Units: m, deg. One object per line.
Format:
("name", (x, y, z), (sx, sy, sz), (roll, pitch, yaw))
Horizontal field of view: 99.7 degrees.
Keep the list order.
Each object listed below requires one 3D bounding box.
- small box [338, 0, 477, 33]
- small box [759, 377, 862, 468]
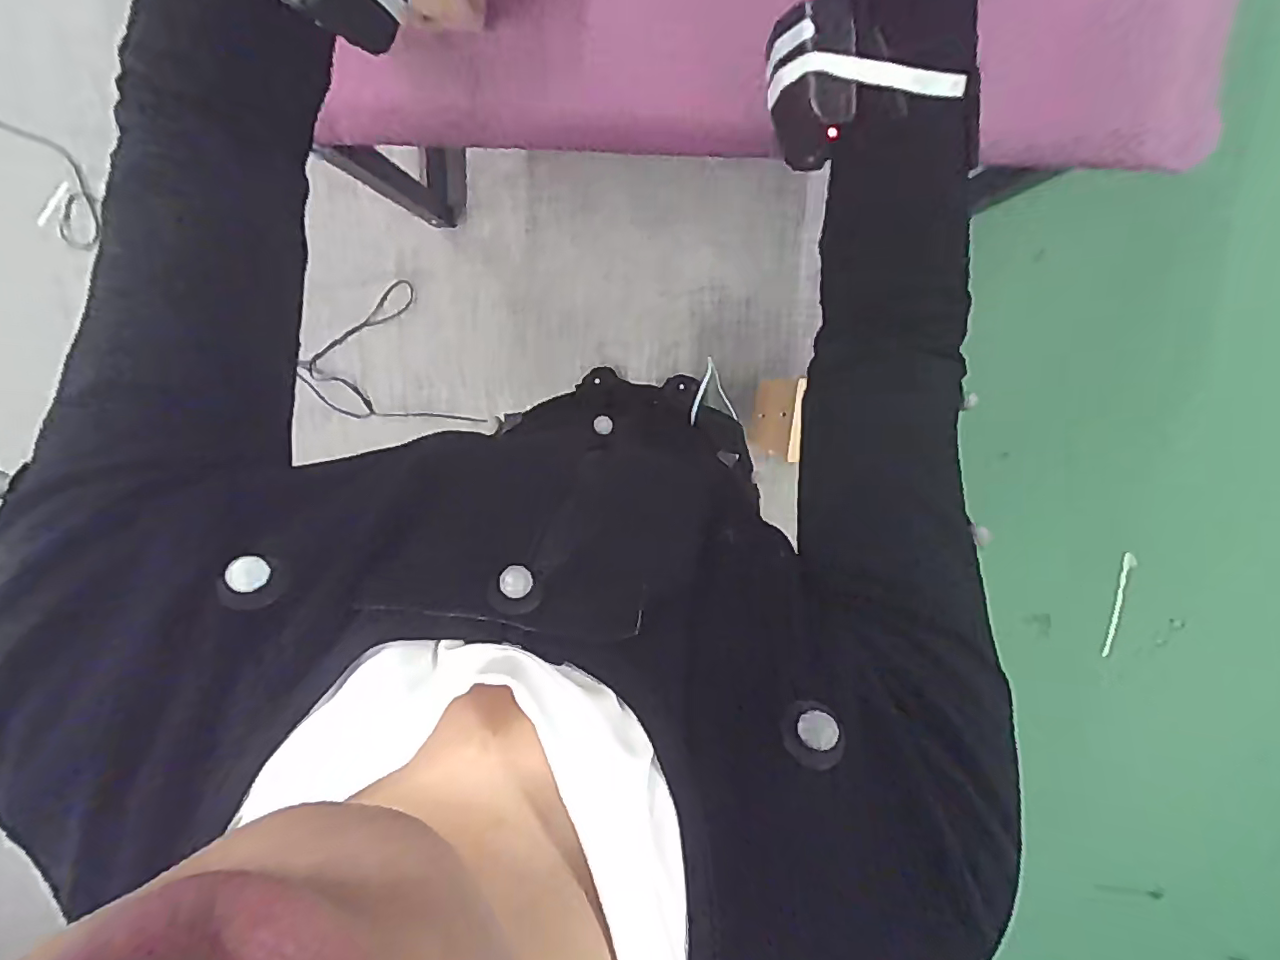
("small box", (-0.263, -0.601, 0.537), (0.168, 0.176, 0.179), (6, 102, -1))
("small box", (0.371, -0.134, 1.211), (0.168, 0.176, 0.179), (6, 101, -1))
